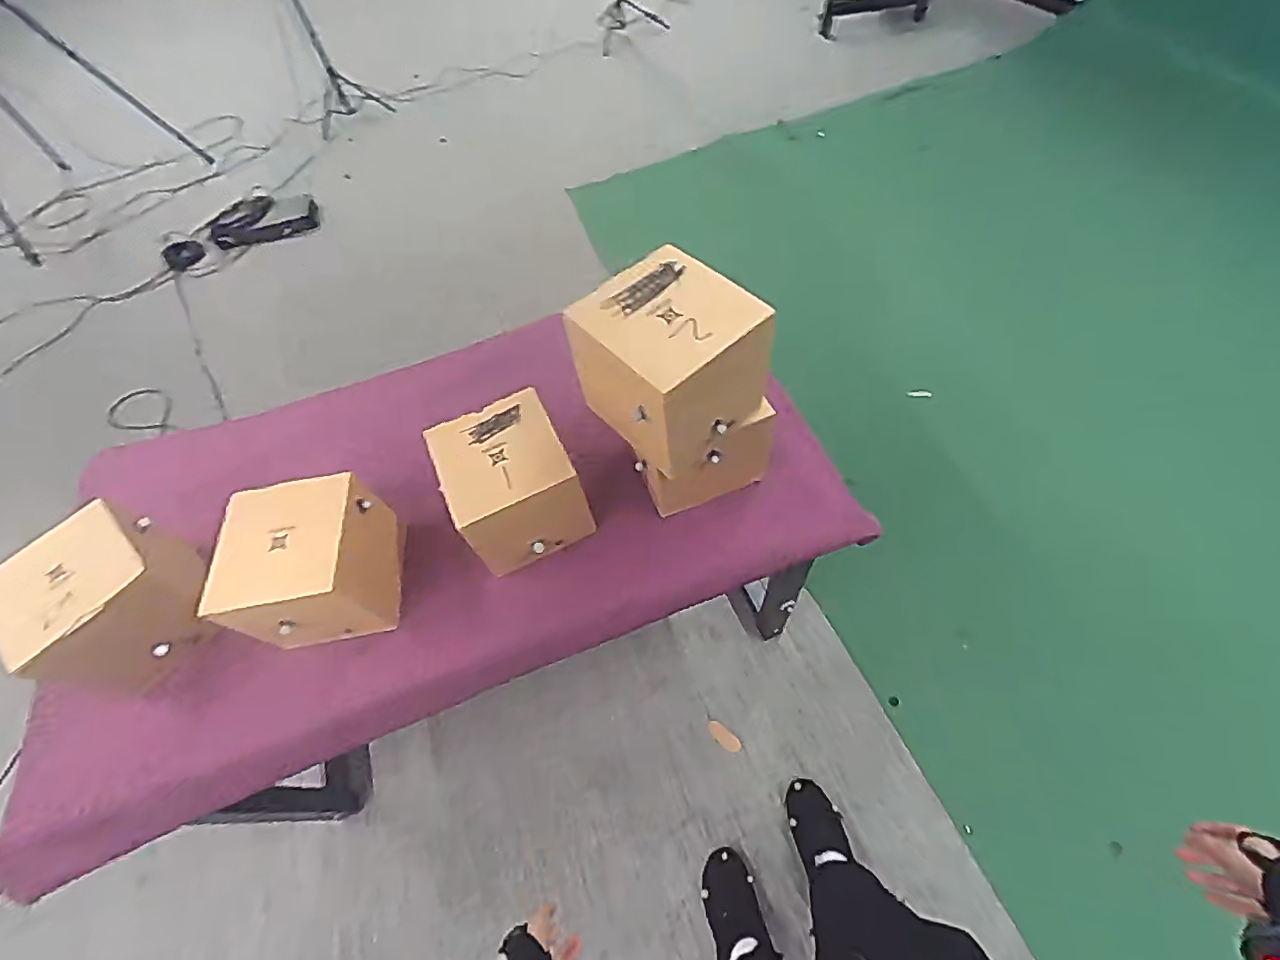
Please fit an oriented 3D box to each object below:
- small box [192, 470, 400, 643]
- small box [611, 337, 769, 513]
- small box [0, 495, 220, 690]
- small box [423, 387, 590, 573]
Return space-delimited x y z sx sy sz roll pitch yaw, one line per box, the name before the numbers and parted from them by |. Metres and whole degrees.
small box | -0.452 0.114 0.746 0.168 0.176 0.179 -11 57 0
small box | 0.073 -0.075 0.807 0.179 0.176 0.168 -20 58 -6
small box | -0.727 0.160 0.740 0.179 0.176 0.168 35 68 23
small box | -0.187 0.004 0.785 0.168 0.176 0.179 -25 60 -9
